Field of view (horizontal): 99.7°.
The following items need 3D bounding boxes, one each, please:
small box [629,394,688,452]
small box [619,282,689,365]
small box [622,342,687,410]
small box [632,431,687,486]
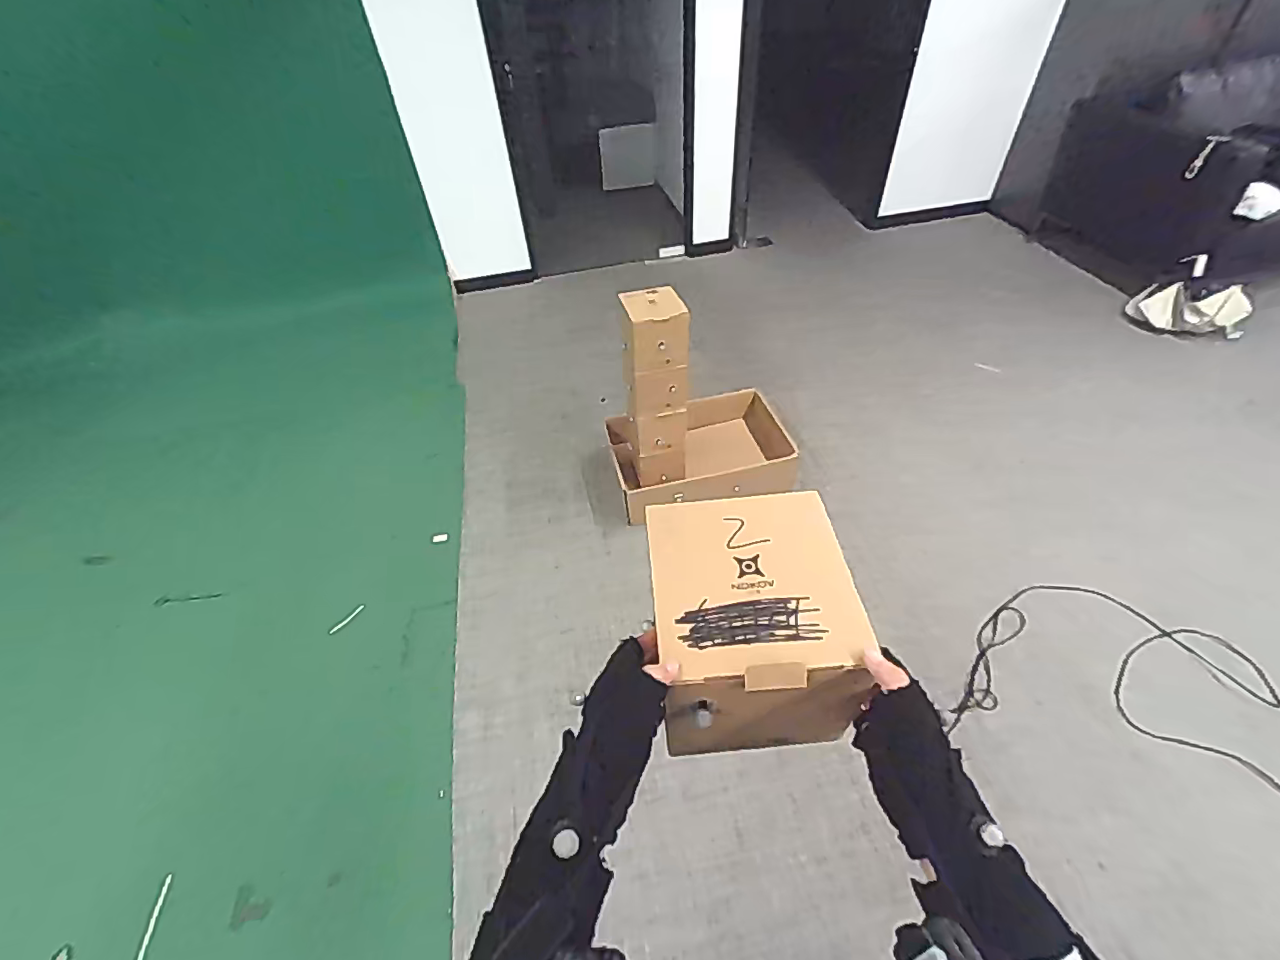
[{"bbox_3d":[0.057,-0.218,1.816,0.168,0.176,0.179,-11,46,-8],"label":"small box"},{"bbox_3d":[0.041,-0.454,1.589,0.168,0.176,0.179,-11,47,-10],"label":"small box"},{"bbox_3d":[0.047,-0.336,1.703,0.168,0.176,0.179,-12,46,-9],"label":"small box"},{"bbox_3d":[0.065,-0.104,1.931,0.168,0.176,0.179,-11,46,-6],"label":"small box"}]
